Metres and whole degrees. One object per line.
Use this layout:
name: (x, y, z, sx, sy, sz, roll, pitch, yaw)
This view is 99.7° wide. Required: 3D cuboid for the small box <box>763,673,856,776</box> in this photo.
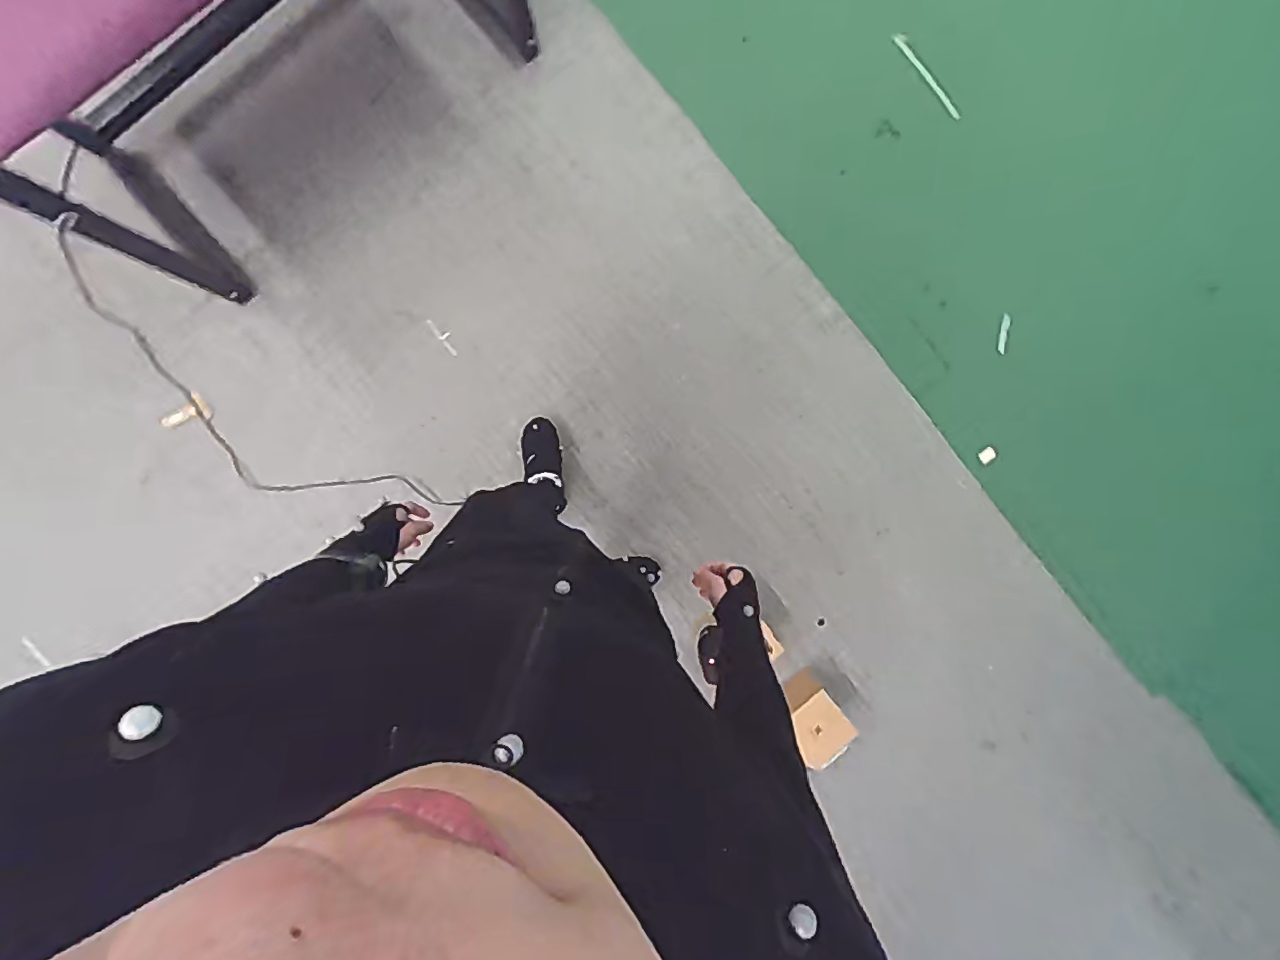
small box: (0.476, 0.696, 1.558, 0.179, 0.176, 0.168, -39, 92, -1)
